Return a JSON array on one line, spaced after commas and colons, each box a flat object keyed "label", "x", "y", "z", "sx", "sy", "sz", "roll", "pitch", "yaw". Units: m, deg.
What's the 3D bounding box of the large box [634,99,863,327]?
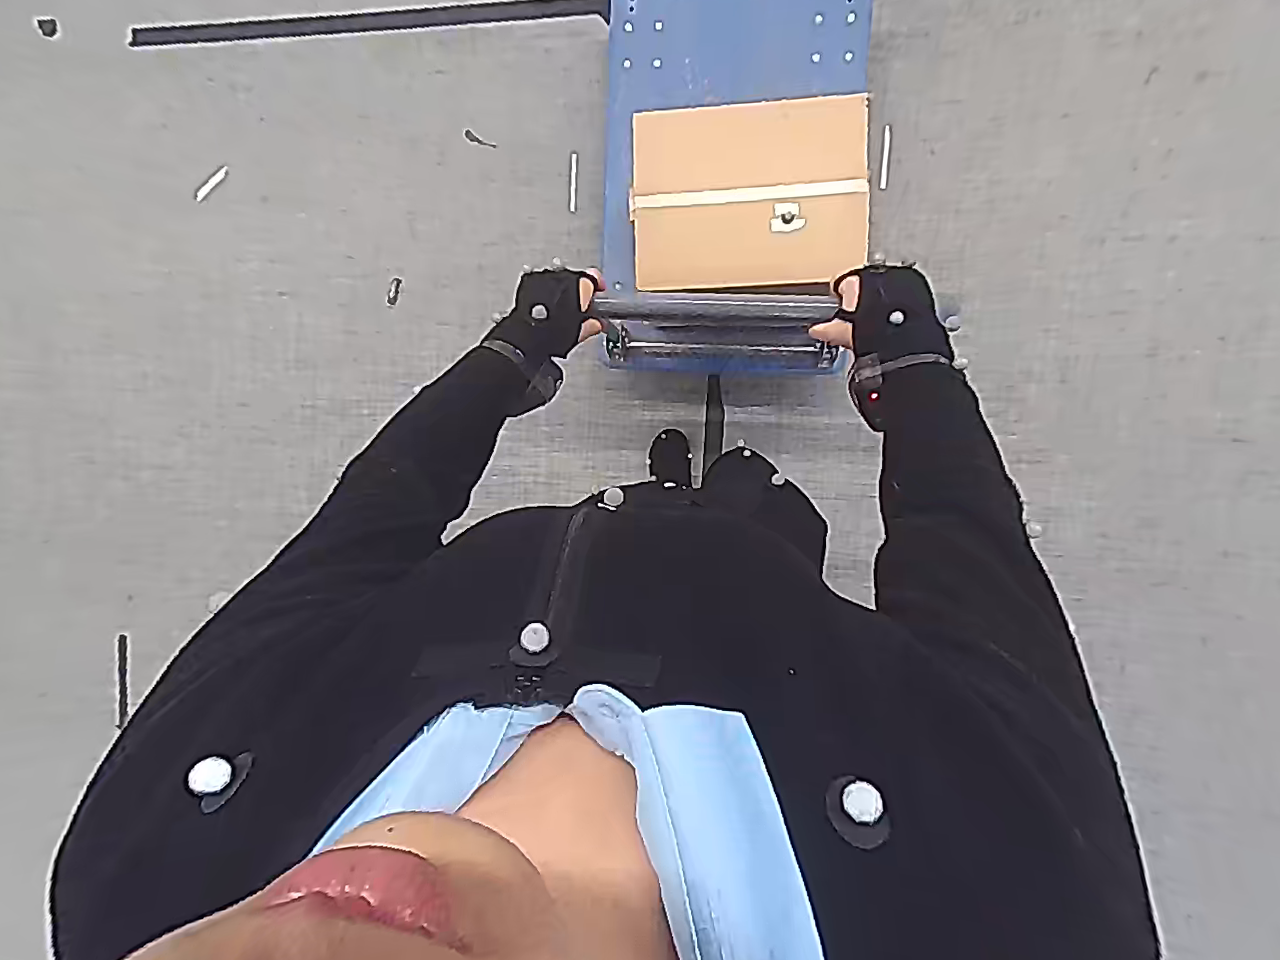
[{"label": "large box", "x": 0.204, "y": -0.511, "z": 1.110, "sx": 0.408, "sy": 0.320, "sz": 0.320, "roll": -1, "pitch": 94, "yaw": 5}]
